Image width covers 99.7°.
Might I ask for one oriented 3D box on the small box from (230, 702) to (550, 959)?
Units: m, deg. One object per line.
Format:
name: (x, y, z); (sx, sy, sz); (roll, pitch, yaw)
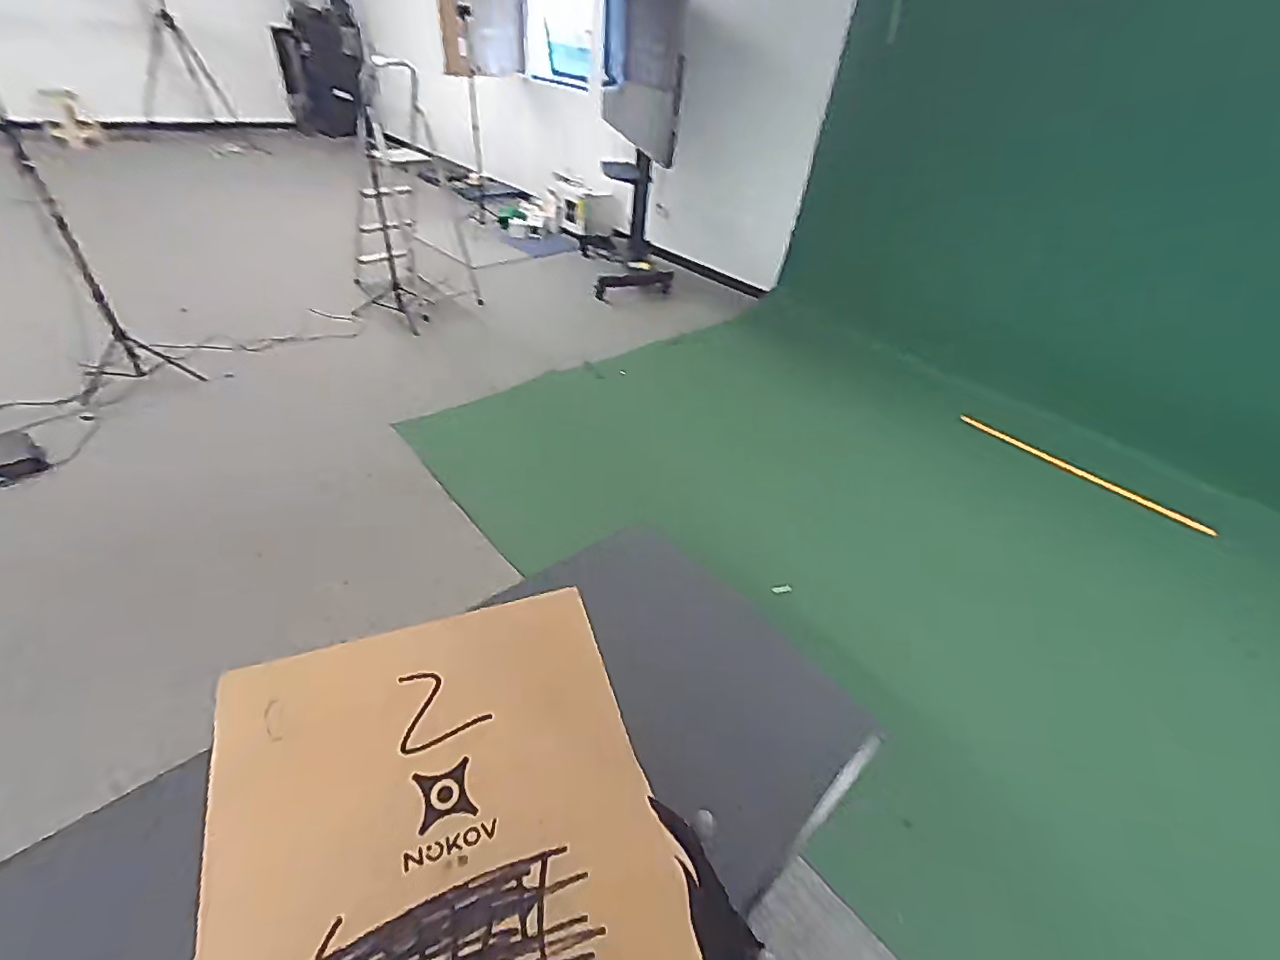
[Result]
small box: (-0.191, 0.332, 0.443); (0.168, 0.176, 0.179); (-28, 50, -36)
